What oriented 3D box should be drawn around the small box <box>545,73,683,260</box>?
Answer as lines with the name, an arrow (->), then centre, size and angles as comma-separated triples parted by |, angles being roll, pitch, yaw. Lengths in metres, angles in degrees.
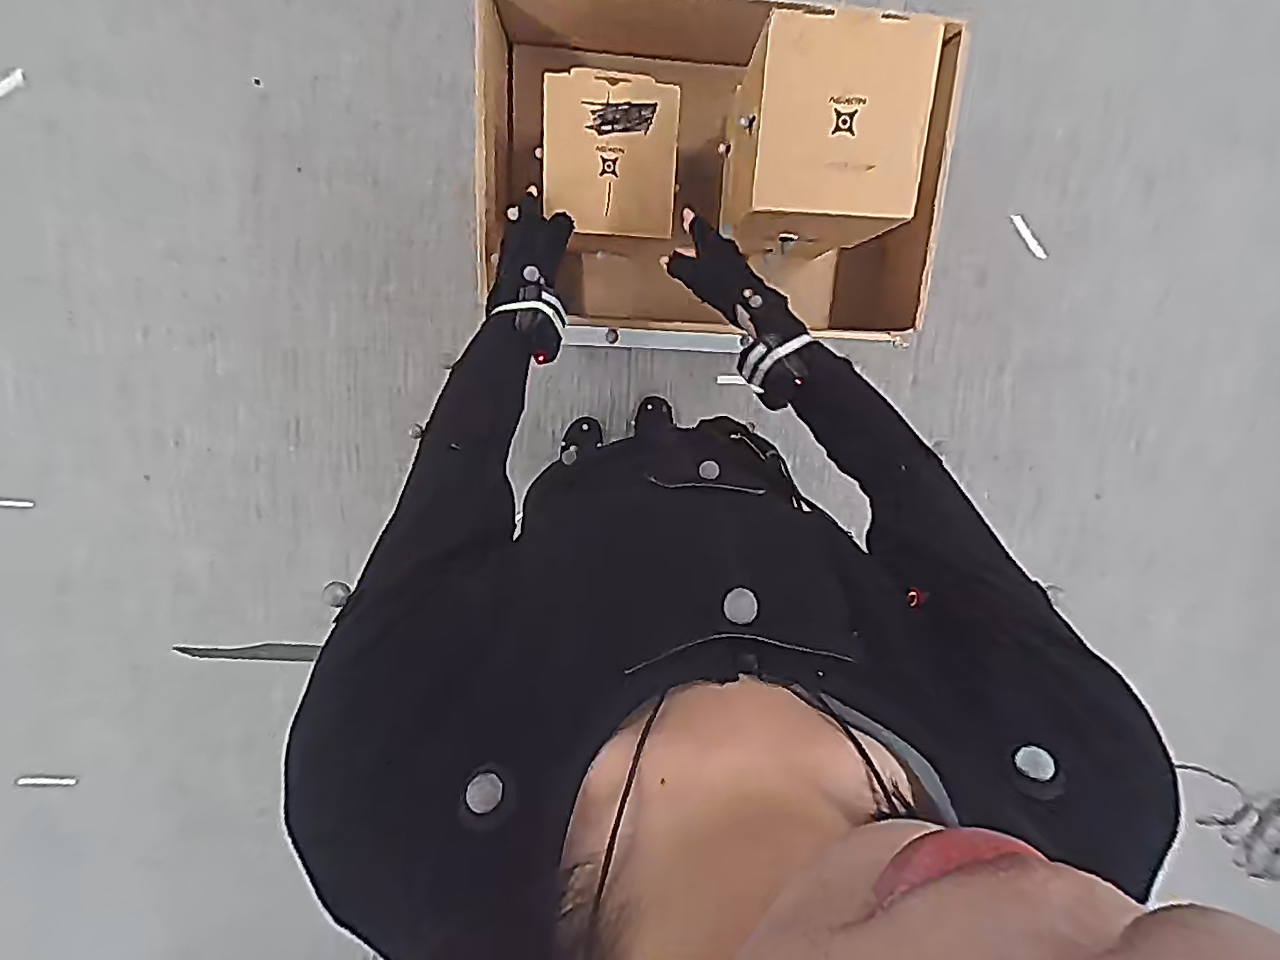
small box -> -0.040, -0.413, 0.743 | 0.168, 0.176, 0.179 | 2, 104, -5

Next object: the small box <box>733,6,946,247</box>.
small box -> 0.202, -0.372, 0.601 | 0.168, 0.176, 0.179 | 3, 104, 0

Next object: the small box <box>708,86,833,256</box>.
small box -> 0.201, -0.417, 0.758 | 0.179, 0.176, 0.168 | 3, 103, -2
